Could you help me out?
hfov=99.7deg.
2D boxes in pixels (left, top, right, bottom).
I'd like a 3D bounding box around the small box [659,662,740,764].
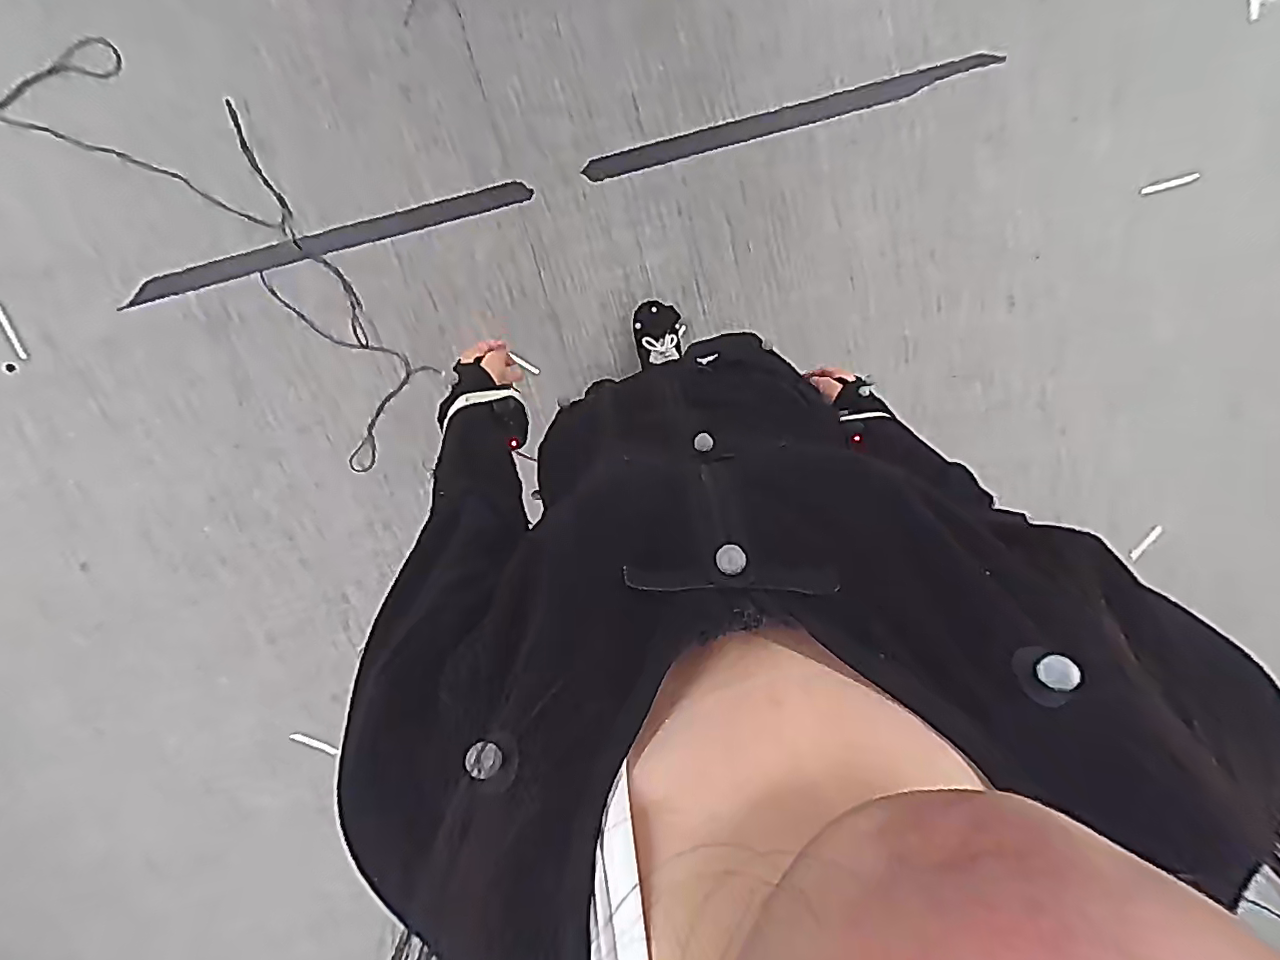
[{"bbox_3d":[0.167,0.666,1.560,0.168,0.176,0.179,-25,104,1],"label":"small box"}]
